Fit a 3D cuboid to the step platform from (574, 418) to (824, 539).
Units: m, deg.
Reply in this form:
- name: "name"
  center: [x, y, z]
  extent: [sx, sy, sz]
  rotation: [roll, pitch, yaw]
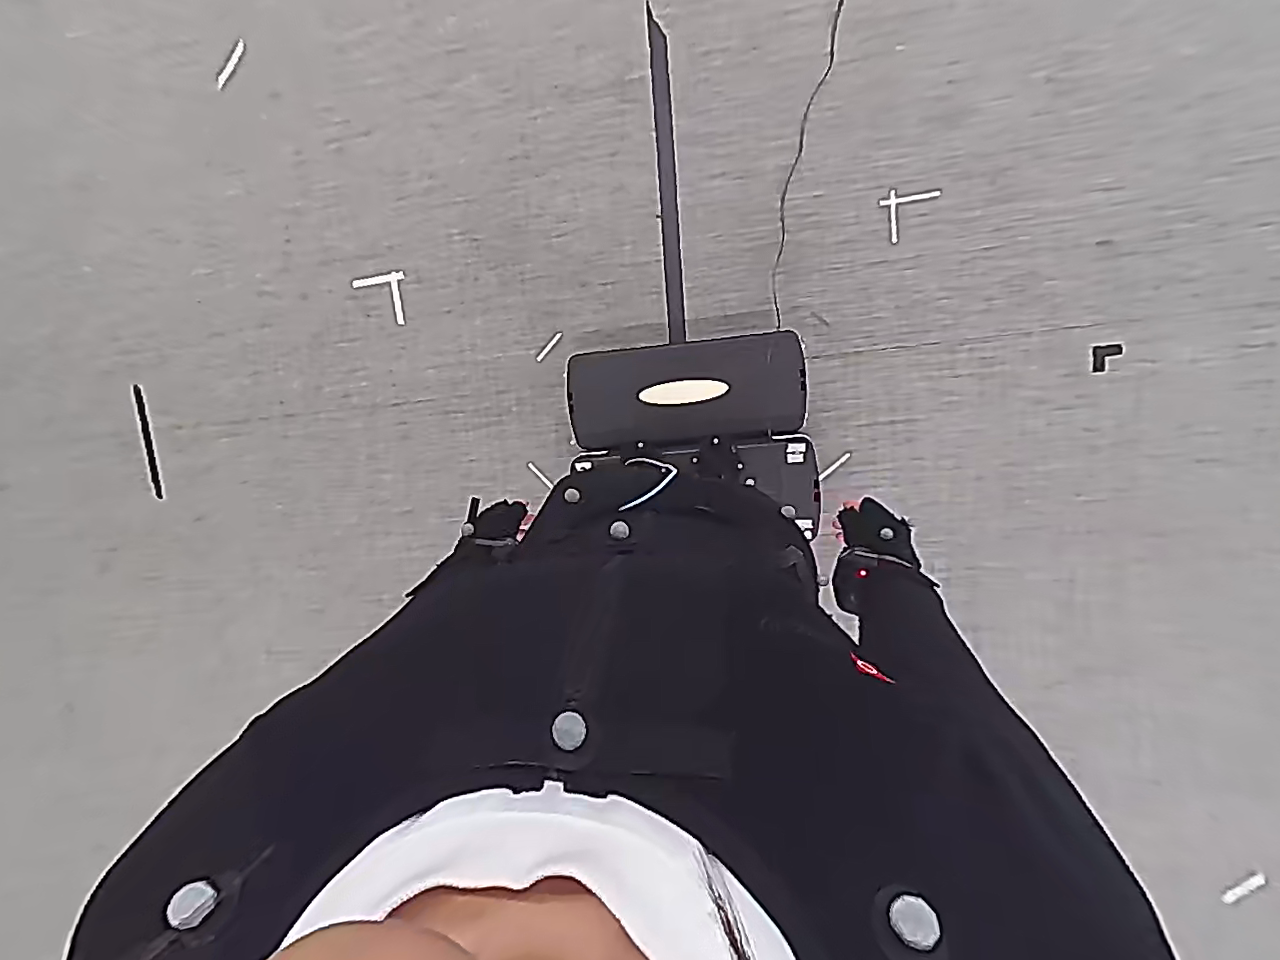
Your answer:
- name: "step platform"
  center: [0.159, -0.003, 1.523]
  extent: [0.684, 0.204, 0.286]
  rotation: [-5, 96, 10]
